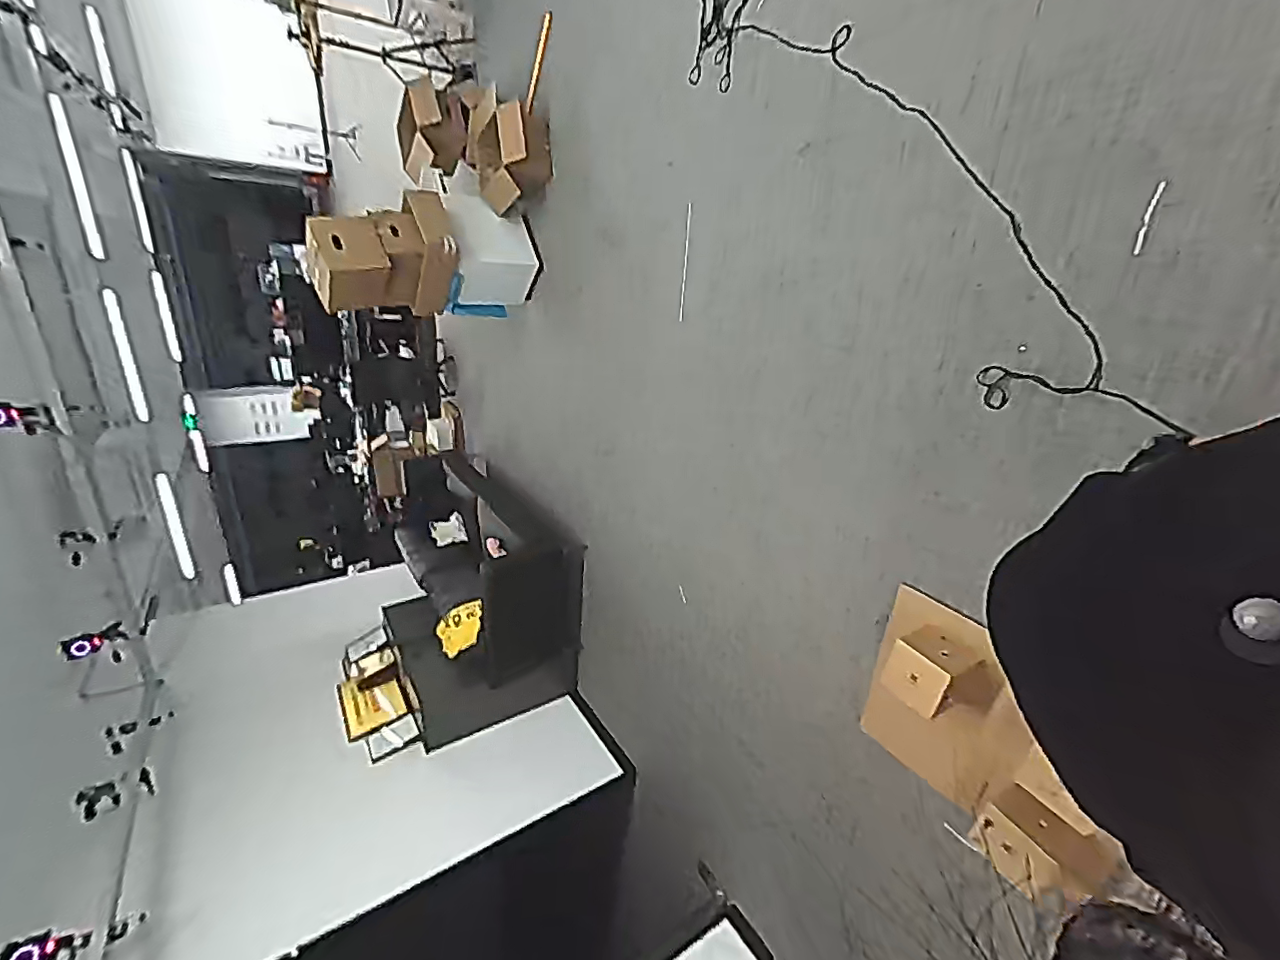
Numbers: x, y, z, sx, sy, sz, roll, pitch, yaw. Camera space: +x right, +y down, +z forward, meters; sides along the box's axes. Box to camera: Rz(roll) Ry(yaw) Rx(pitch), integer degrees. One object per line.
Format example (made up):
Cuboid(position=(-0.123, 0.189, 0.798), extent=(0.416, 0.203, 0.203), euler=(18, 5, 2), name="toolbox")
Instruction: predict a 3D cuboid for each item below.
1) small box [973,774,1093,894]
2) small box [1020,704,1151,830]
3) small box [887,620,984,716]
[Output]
Cuboid(position=(1.032, 0.917, 1.418), extent=(0.179, 0.176, 0.168), euler=(40, 132, 45), name="small box")
Cuboid(position=(1.065, 0.673, 1.290), extent=(0.168, 0.176, 0.179), euler=(39, 131, 47), name="small box")
Cuboid(position=(0.859, 0.537, 1.568), extent=(0.168, 0.176, 0.179), euler=(38, 130, 47), name="small box")
